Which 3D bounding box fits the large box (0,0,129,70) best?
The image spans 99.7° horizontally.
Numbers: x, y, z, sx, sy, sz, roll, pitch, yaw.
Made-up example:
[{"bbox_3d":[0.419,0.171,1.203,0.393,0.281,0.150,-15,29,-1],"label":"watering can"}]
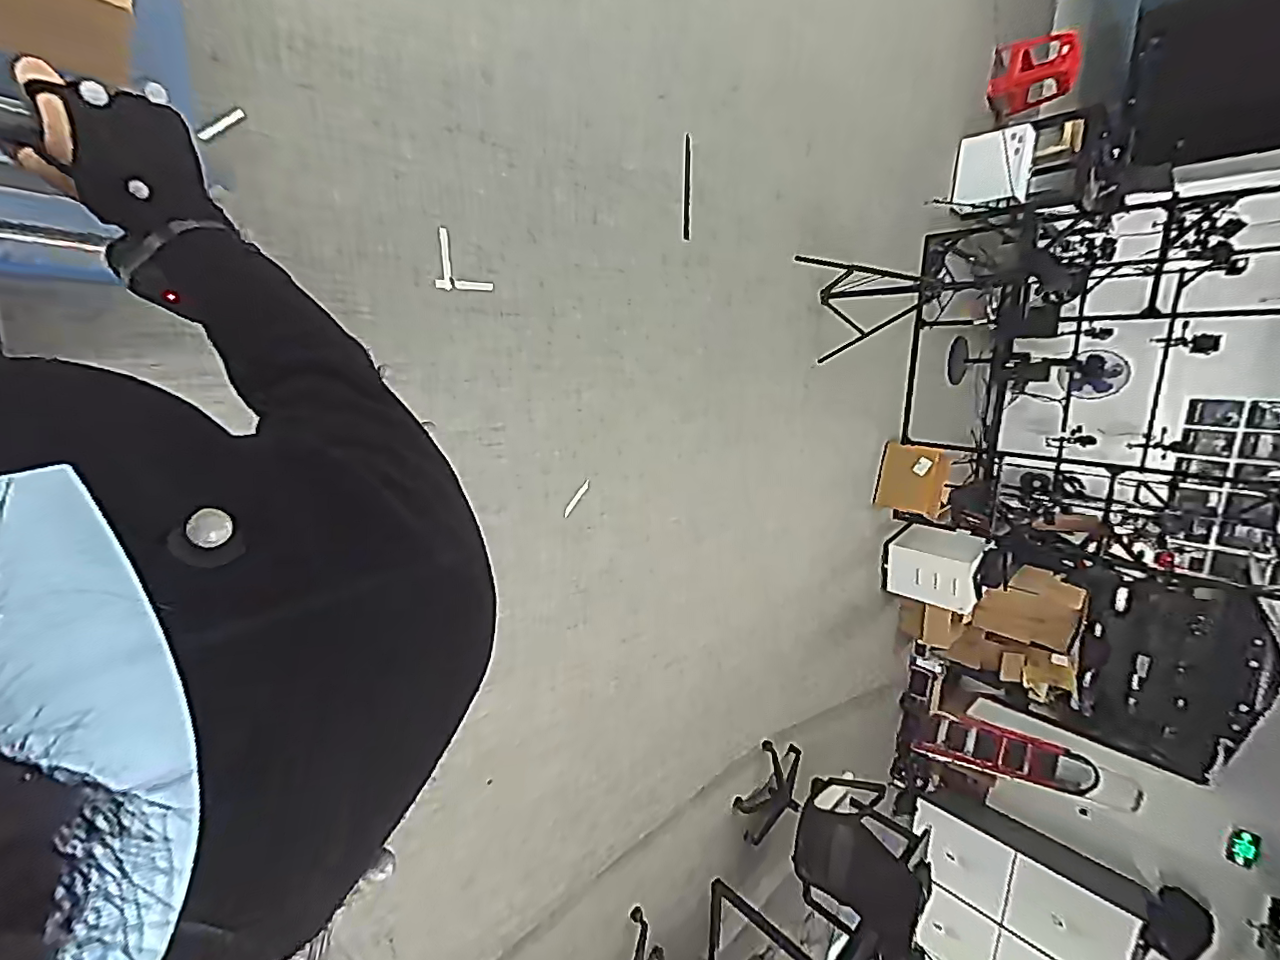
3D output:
[{"bbox_3d":[-0.898,-0.781,0.638,0.408,0.320,0.320,-6,104,-43],"label":"large box"}]
